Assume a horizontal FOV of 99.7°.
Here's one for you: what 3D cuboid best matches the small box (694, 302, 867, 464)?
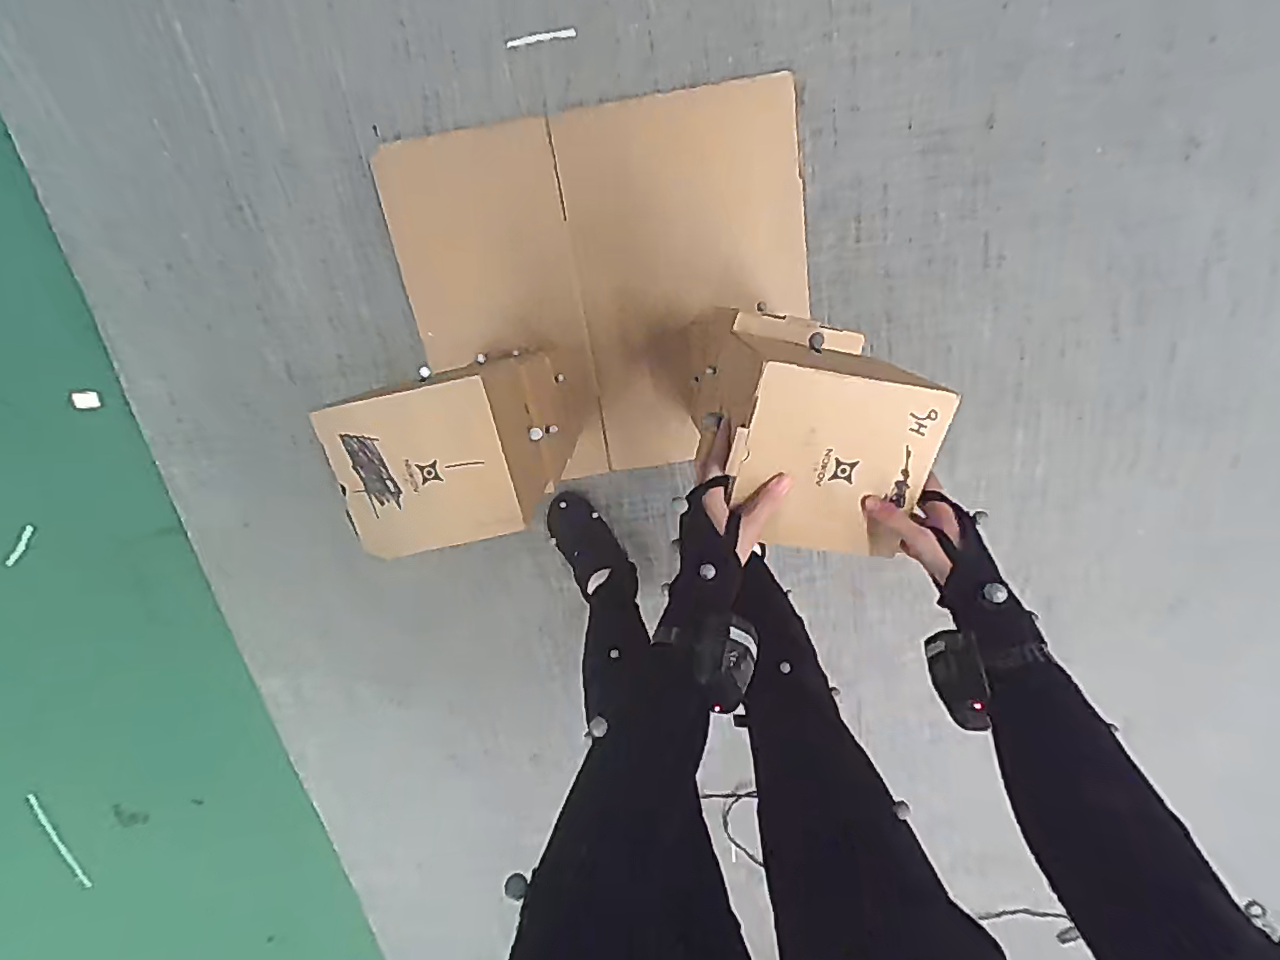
[{"bbox_3d":[0.178,-0.142,0.752,0.168,0.176,0.179,11,108,-5],"label":"small box"}]

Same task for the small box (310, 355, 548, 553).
[{"bbox_3d":[-0.216,-0.039,0.607,0.179,0.176,0.168,-11,108,2],"label":"small box"}]

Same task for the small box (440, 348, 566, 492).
[{"bbox_3d":[-0.208,-0.081,0.767,0.168,0.176,0.179,-10,108,1],"label":"small box"}]

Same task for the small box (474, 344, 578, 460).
[{"bbox_3d":[-0.207,-0.127,0.925,0.168,0.176,0.179,-10,107,2],"label":"small box"}]
